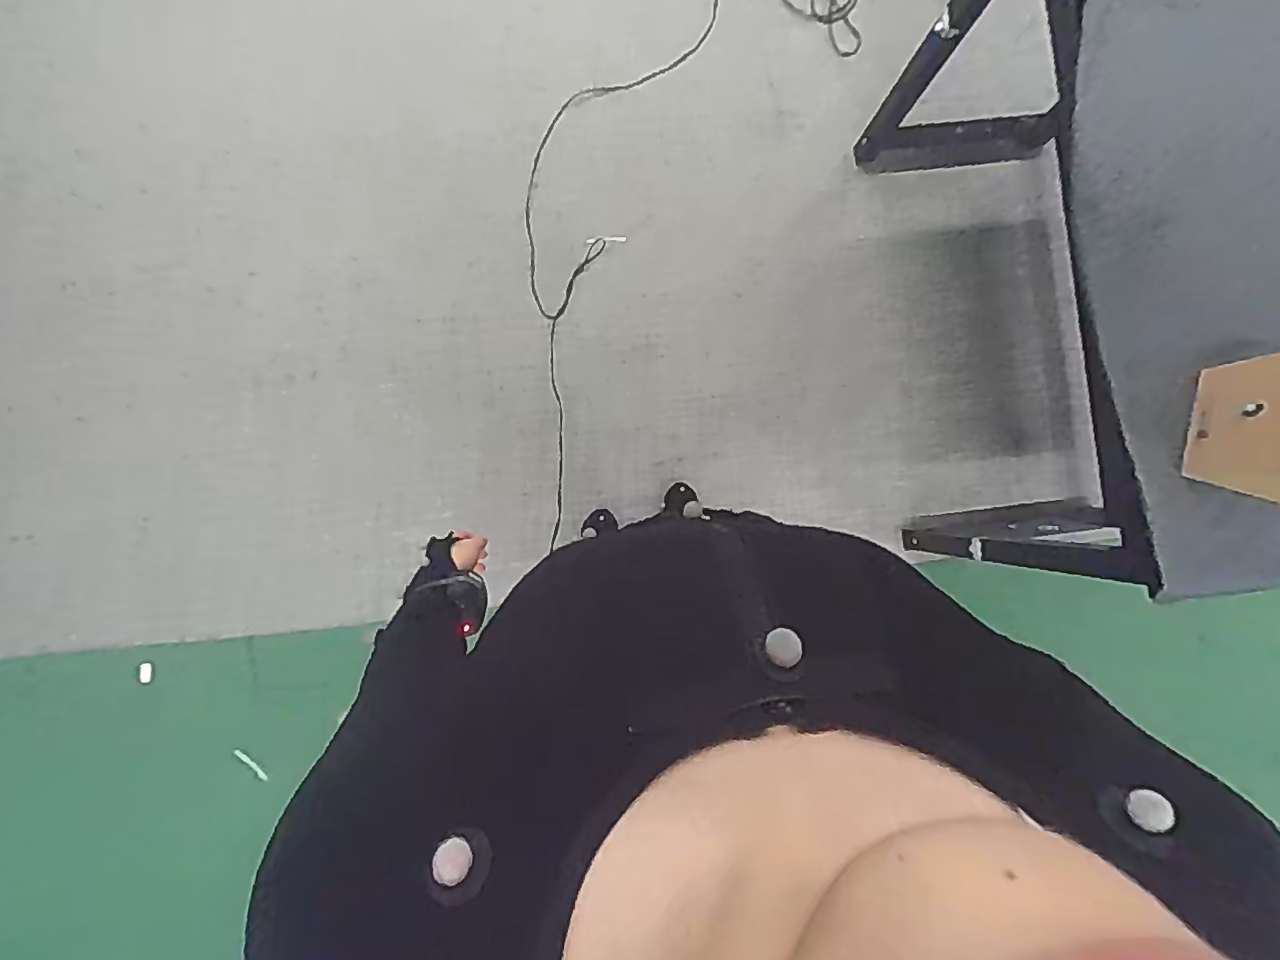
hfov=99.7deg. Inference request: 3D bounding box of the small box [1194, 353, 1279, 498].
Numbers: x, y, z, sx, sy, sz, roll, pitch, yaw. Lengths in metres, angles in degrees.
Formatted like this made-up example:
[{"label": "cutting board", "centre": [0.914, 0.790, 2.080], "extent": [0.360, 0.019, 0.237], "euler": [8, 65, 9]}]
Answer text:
[{"label": "small box", "centre": [0.903, -0.070, 0.713], "extent": [0.179, 0.176, 0.168], "euler": [14, 87, -3]}]
